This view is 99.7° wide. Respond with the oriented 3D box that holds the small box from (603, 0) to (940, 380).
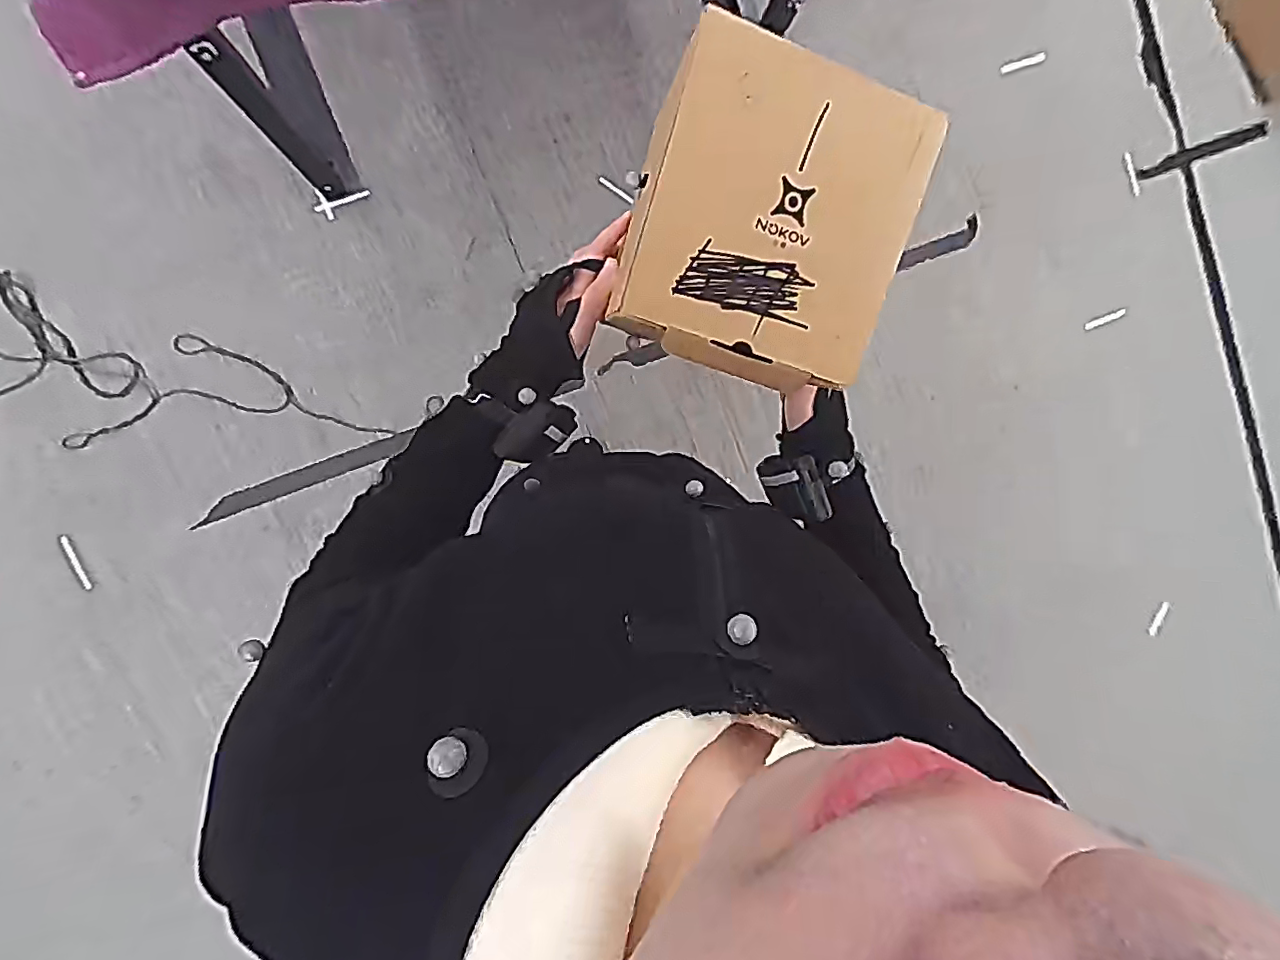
[{"bbox_3d":[0.073,-0.187,0.409,0.168,0.176,0.179,15,101,-13],"label":"small box"}]
